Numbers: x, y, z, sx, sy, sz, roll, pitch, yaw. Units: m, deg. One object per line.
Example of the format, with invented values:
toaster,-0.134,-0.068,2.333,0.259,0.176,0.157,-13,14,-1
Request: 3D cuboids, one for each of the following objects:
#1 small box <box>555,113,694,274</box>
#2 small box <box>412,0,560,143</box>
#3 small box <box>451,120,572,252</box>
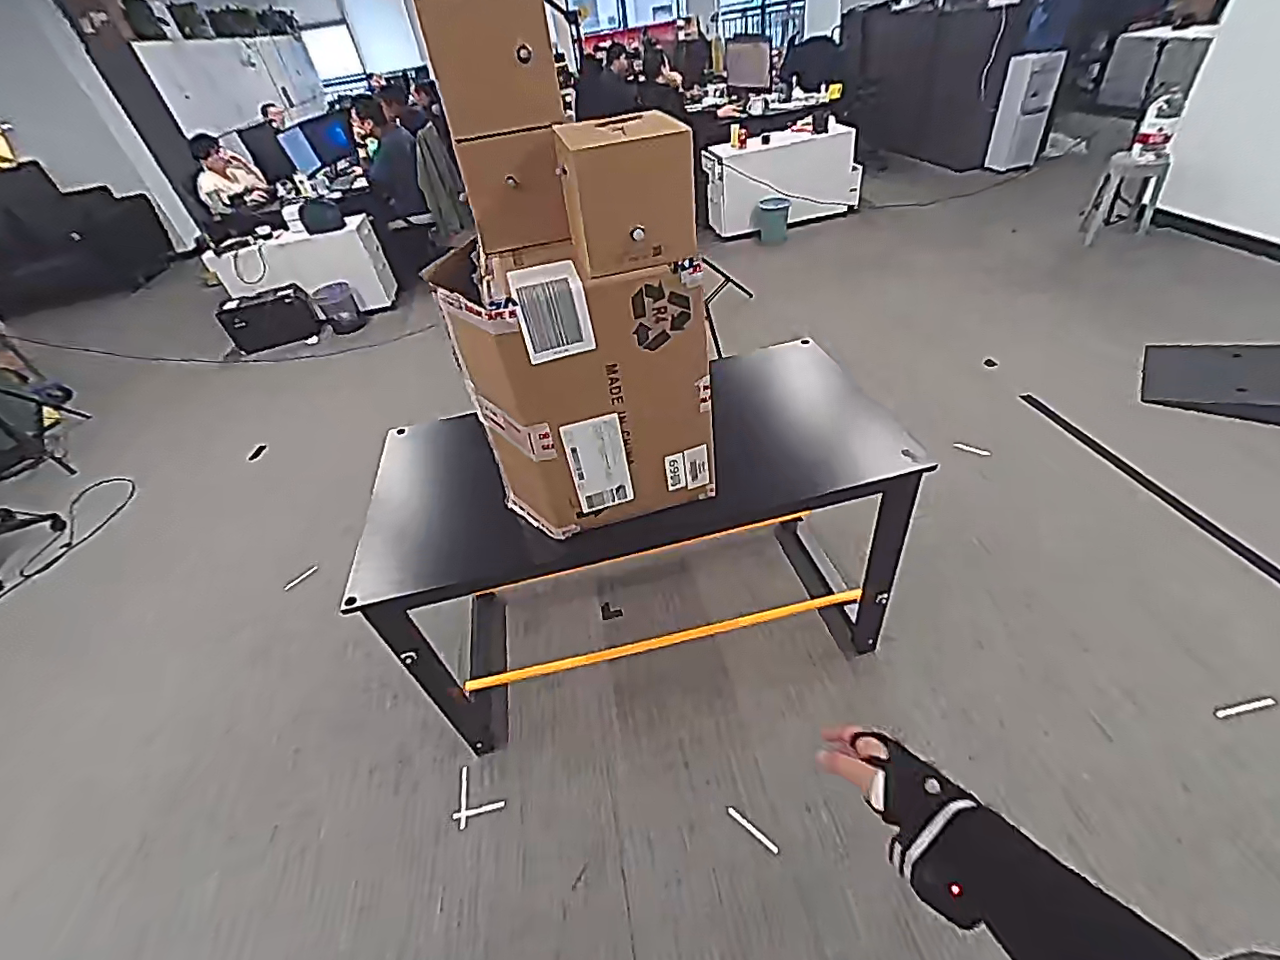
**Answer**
small box,-0.023,-0.428,0.808,0.168,0.176,0.179,-14,42,-7
small box,-0.229,-0.634,0.830,0.179,0.176,0.168,-16,38,-9
small box,-0.211,-0.511,0.936,0.179,0.176,0.168,-15,39,-7
